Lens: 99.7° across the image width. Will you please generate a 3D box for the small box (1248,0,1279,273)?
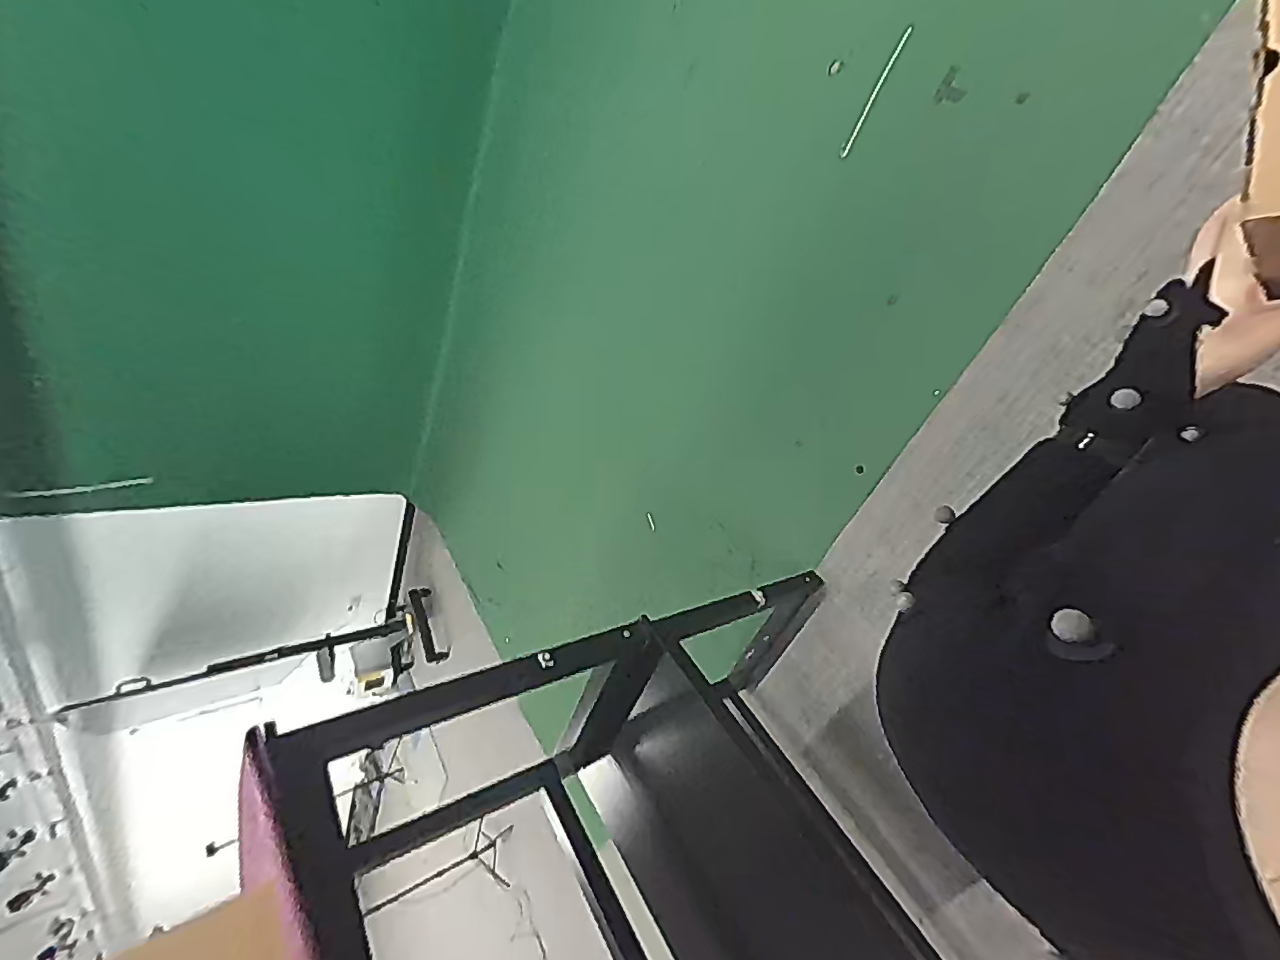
[{"bbox_3d":[0.442,-0.213,0.263,0.179,0.176,0.168,6,93,51],"label":"small box"}]
